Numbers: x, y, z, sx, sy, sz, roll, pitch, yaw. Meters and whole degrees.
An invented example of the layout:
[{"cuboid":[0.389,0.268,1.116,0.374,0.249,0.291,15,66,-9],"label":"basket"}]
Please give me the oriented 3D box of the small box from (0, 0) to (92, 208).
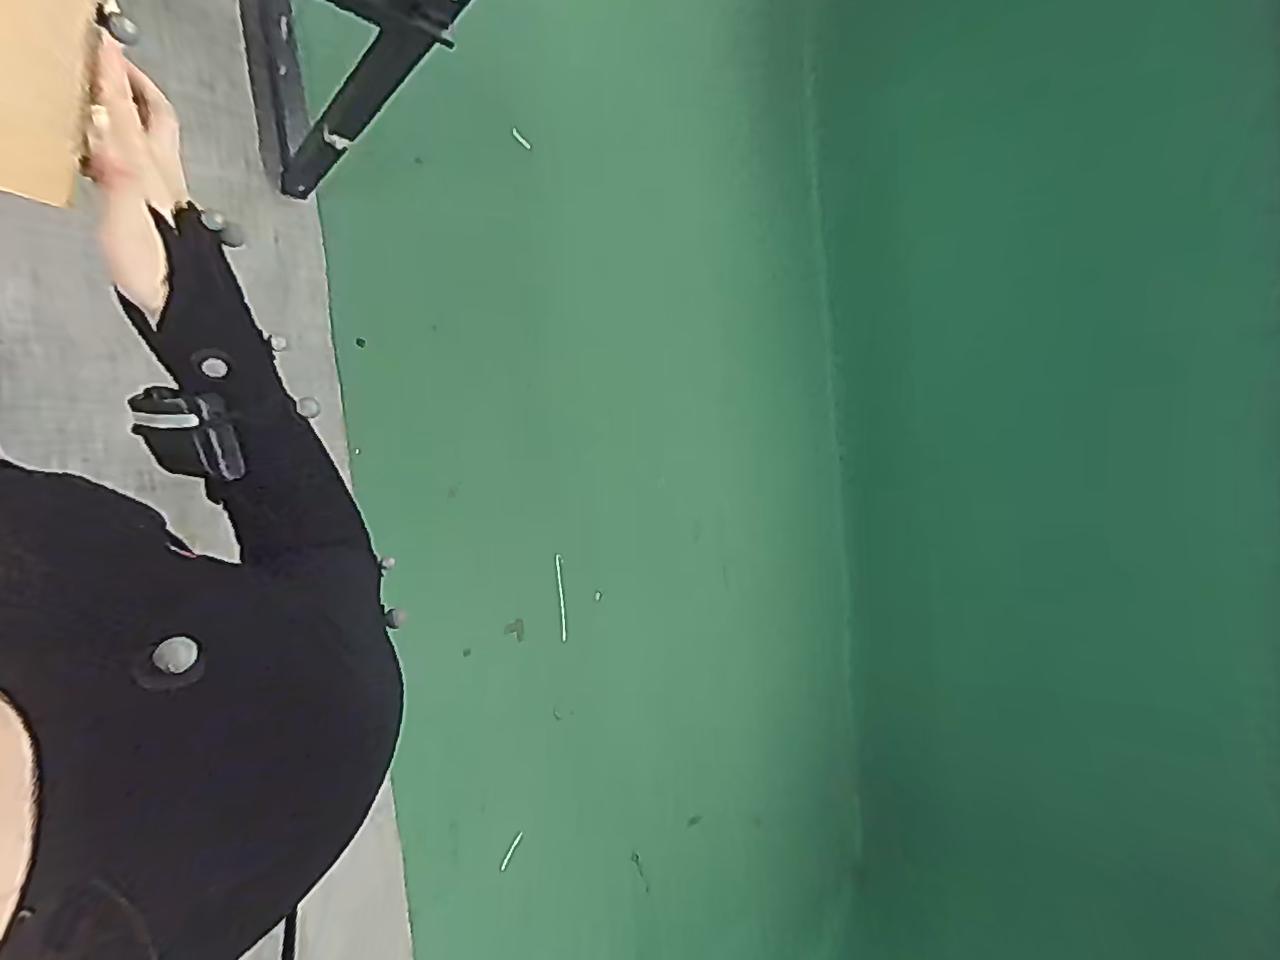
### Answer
[{"cuboid":[-0.321,-0.236,0.197,0.168,0.176,0.179,8,114,-47],"label":"small box"}]
